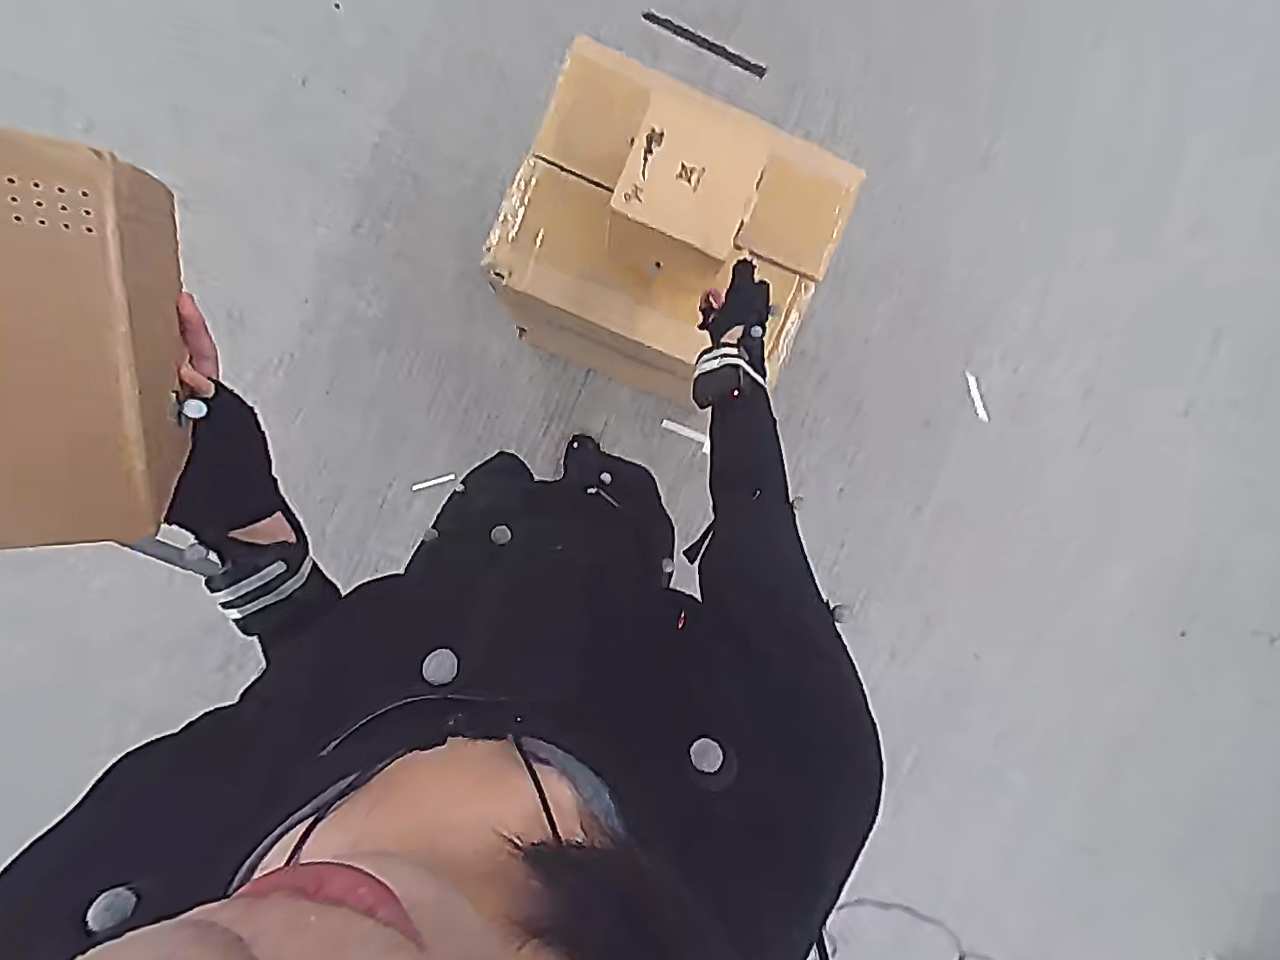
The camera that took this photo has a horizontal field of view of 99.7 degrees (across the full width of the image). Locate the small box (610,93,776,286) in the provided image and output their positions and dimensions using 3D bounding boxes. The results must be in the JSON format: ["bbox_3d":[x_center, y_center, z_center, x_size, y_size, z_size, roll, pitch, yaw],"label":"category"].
[{"bbox_3d":[0.066,-0.406,0.797,0.179,0.176,0.168,23,92,-6],"label":"small box"}]

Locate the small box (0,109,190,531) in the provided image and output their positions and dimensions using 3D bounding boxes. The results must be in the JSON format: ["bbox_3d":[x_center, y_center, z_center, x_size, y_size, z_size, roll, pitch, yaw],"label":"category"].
[{"bbox_3d":[-0.332,-0.082,0.252,0.168,0.179,0.176,-4,110,-32],"label":"small box"}]
